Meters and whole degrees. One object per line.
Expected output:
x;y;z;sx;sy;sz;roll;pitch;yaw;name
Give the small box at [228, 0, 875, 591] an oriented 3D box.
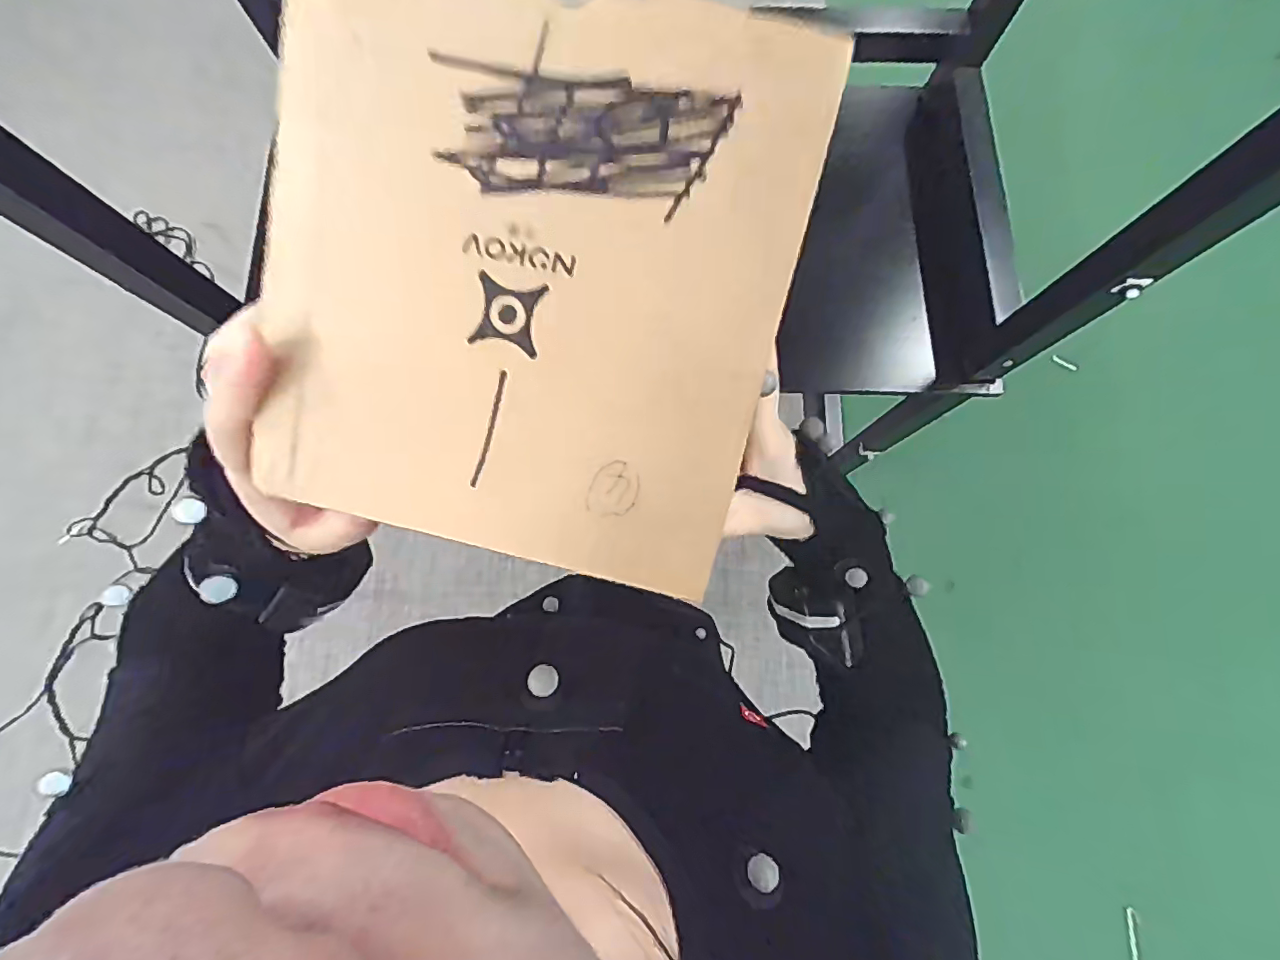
-0.030;-0.080;0.238;0.168;0.176;0.179;14;102;2;small box
